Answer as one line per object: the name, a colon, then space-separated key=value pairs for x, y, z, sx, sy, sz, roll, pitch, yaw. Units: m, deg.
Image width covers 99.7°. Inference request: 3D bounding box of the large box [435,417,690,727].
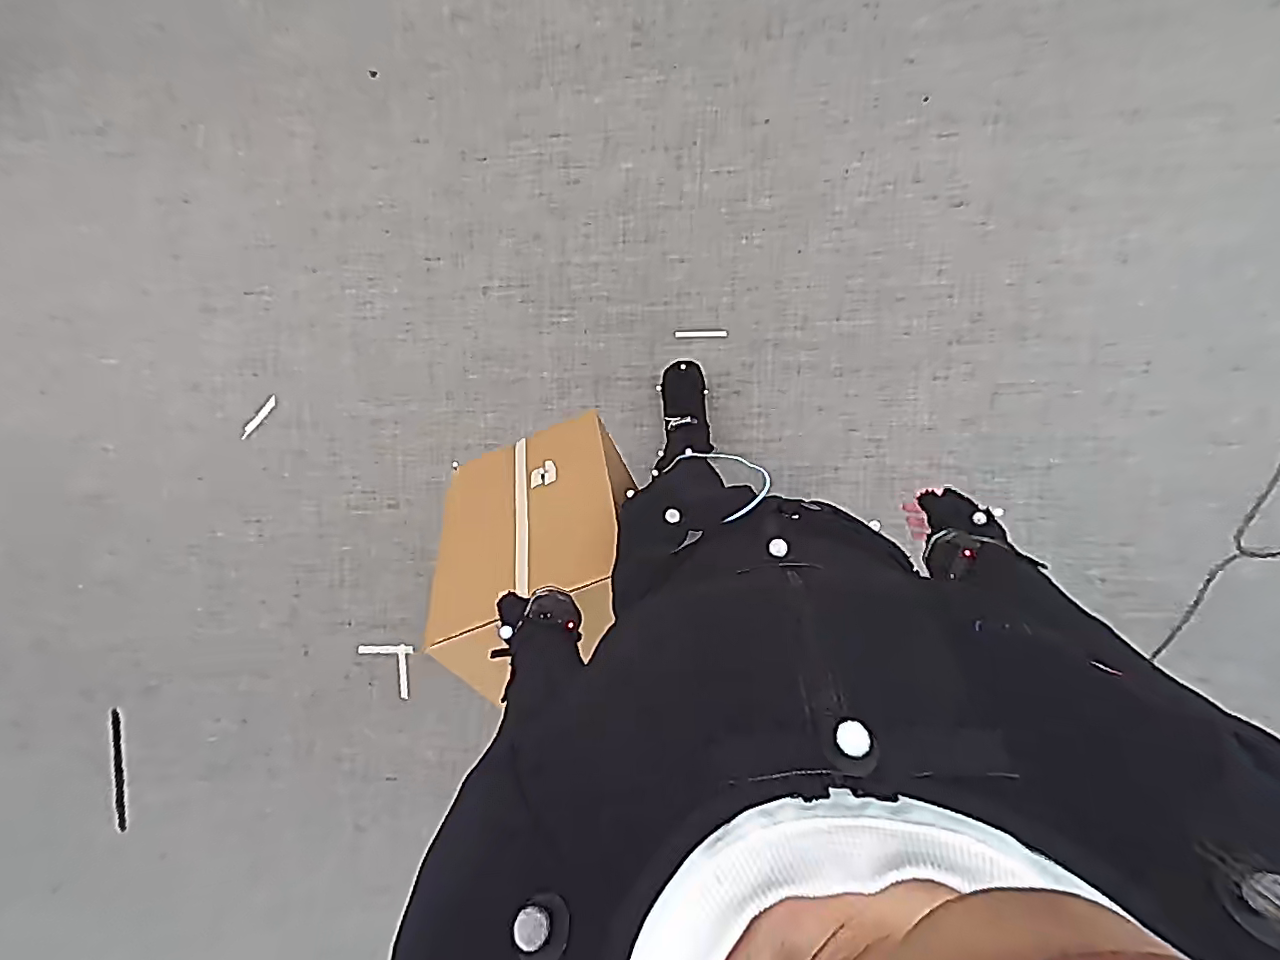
large box: x=-0.135 y=0.160 z=0.995 sx=0.320 sy=0.408 sz=0.320 roll=-21 pitch=130 yaw=5
